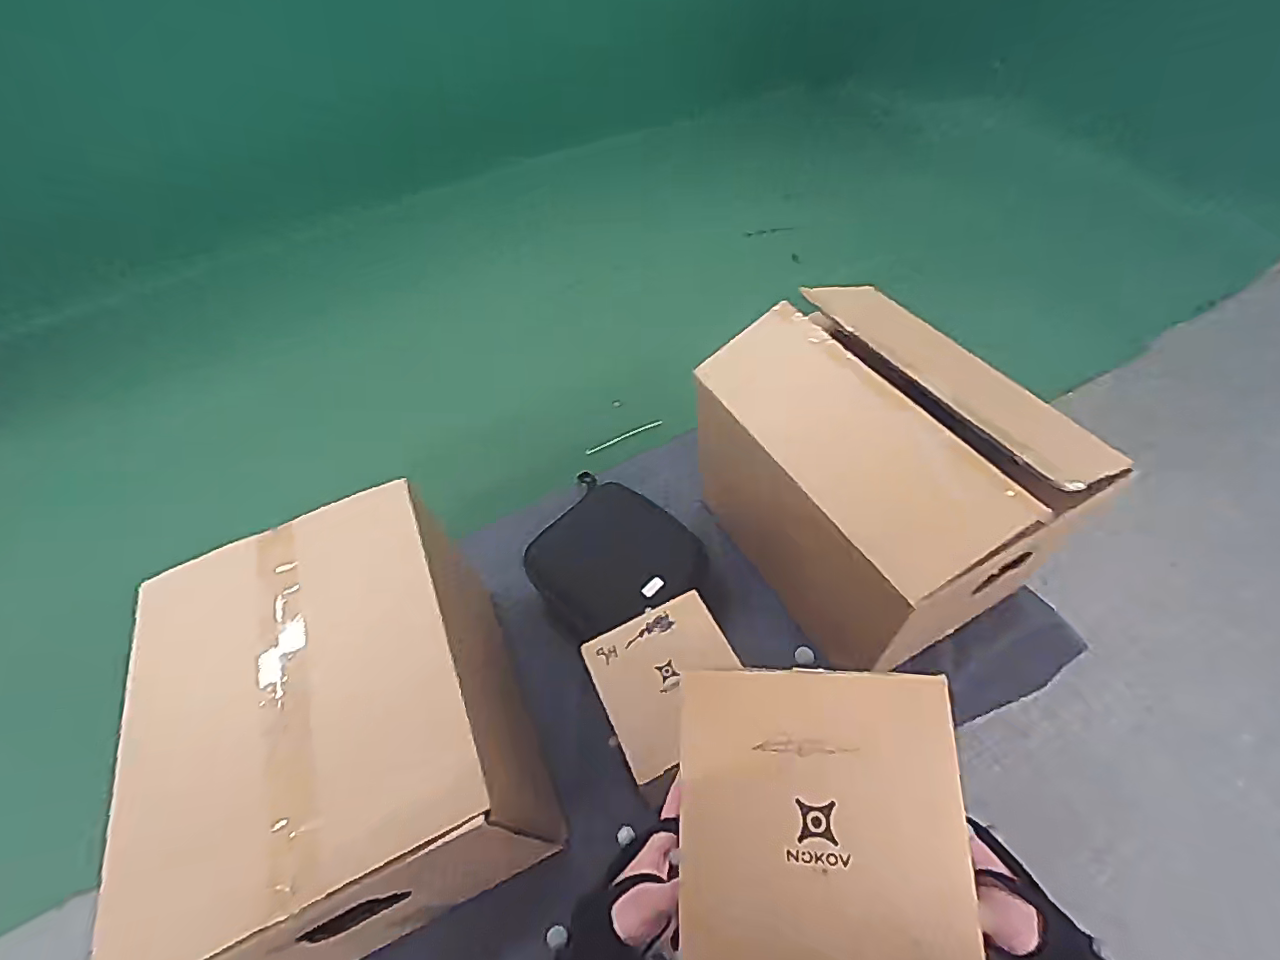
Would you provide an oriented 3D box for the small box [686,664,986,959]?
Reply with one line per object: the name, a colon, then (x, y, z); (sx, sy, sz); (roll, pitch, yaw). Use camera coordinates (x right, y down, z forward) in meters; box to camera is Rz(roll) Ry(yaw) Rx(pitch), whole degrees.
small box: (0.124, 0.233, 0.399); (0.168, 0.176, 0.179); (-2, 72, 9)
